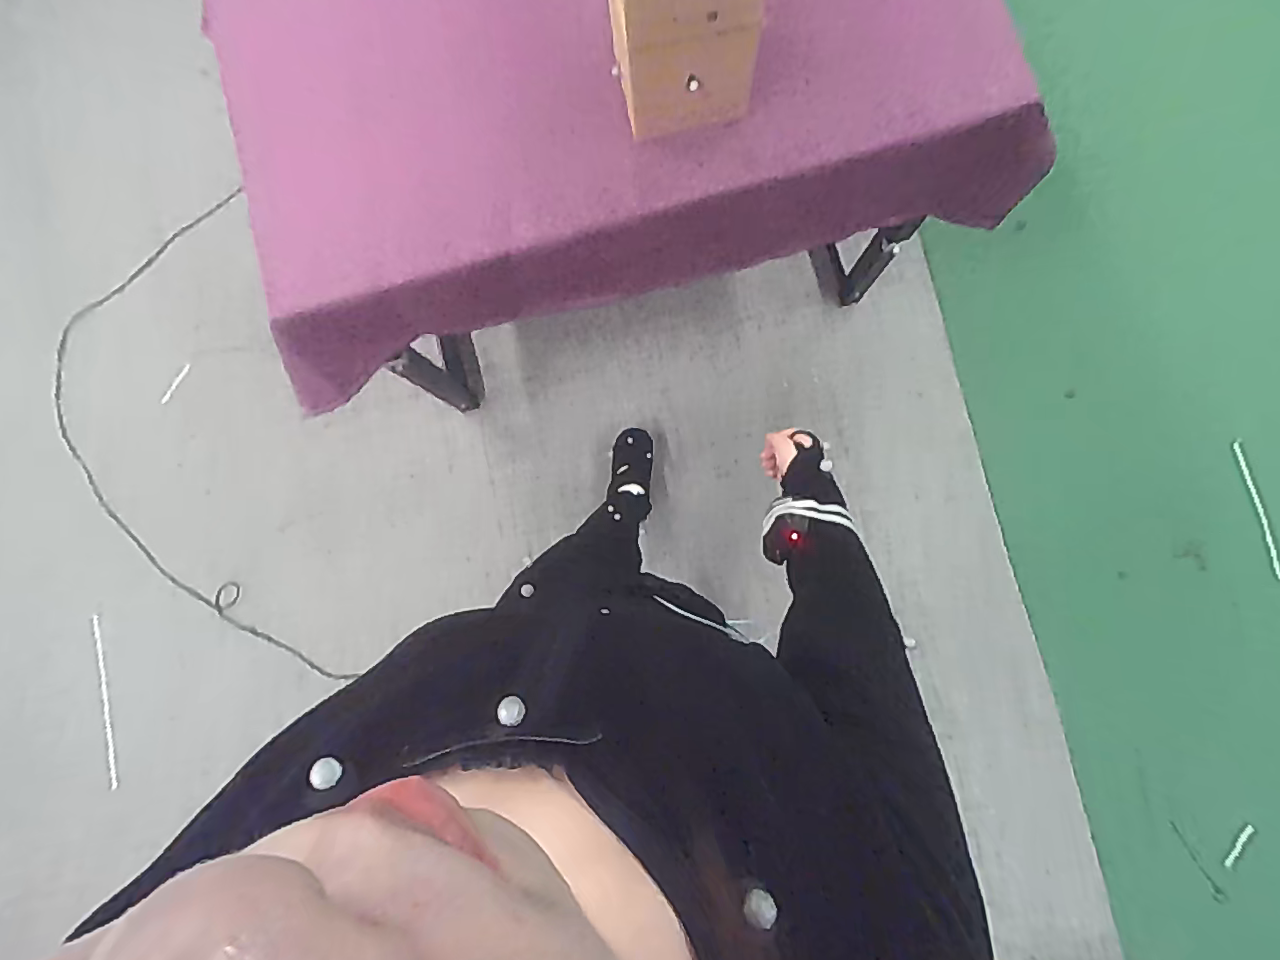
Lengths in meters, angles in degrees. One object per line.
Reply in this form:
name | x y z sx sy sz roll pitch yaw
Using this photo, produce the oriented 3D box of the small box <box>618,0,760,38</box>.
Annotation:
small box | 0.049 -0.632 0.592 0.168 0.176 0.179 -9 84 2
